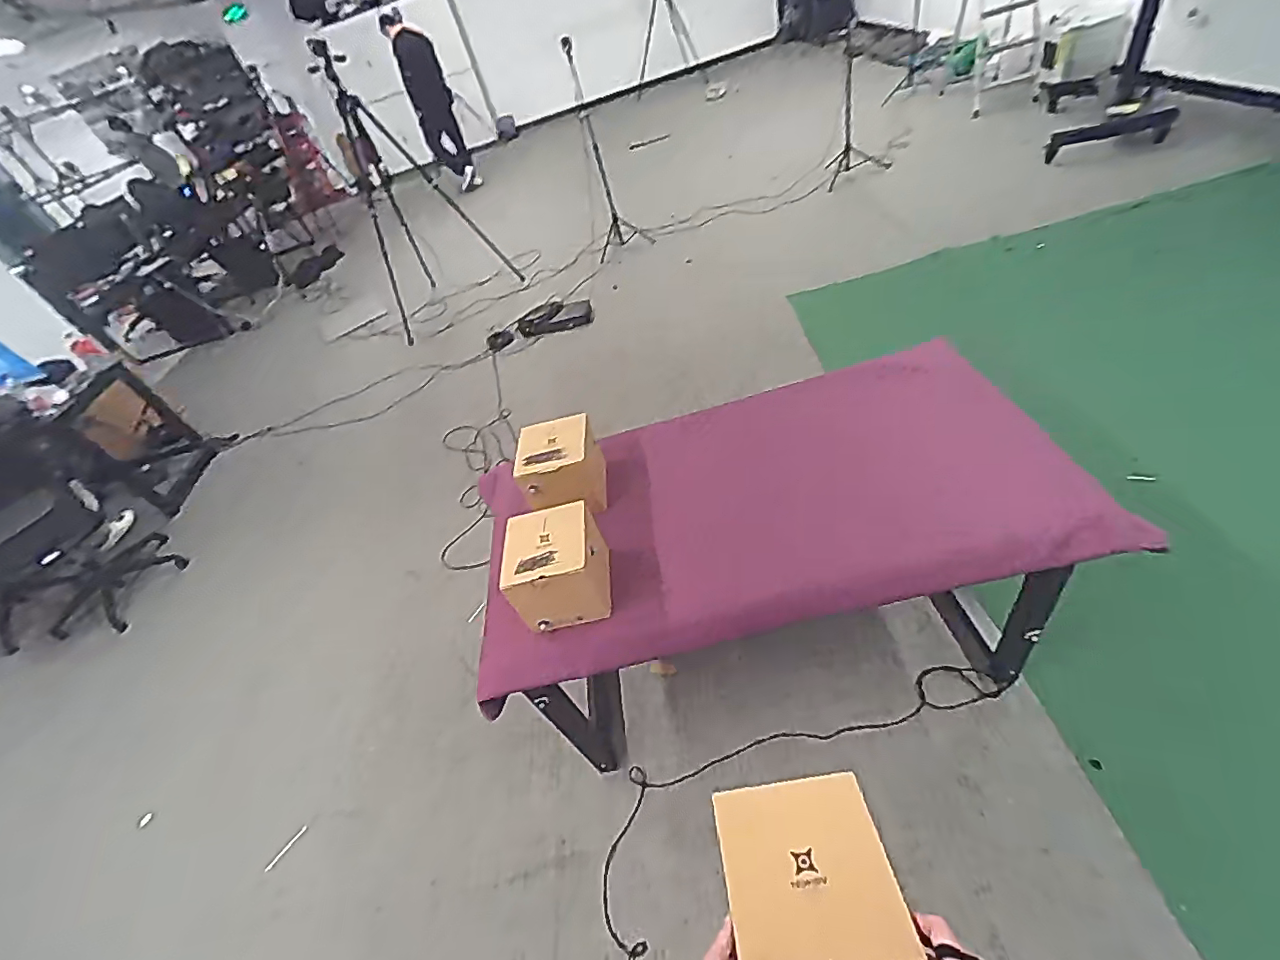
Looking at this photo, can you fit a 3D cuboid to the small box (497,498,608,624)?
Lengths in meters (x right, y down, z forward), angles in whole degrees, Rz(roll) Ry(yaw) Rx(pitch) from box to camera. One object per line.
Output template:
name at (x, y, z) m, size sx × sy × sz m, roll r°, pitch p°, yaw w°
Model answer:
small box at (-0.165, 0.168, 1.075) m, size 0.168 × 0.176 × 0.179 m, roll -13°, pitch 43°, yaw 6°

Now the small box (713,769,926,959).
small box at (0.178, 0.453, 0.587) m, size 0.168 × 0.176 × 0.179 m, roll -10°, pitch 32°, yaw 2°
